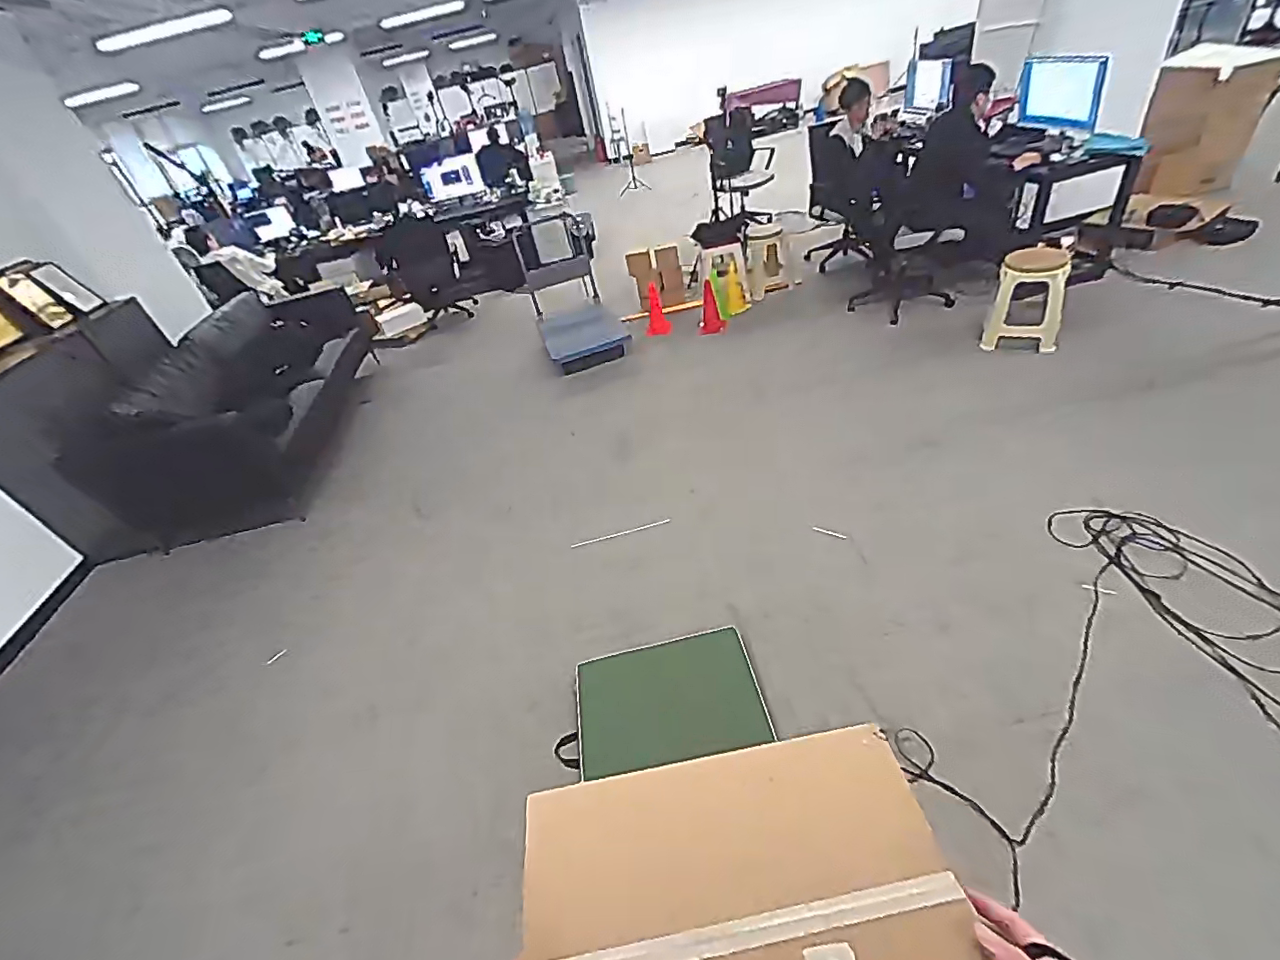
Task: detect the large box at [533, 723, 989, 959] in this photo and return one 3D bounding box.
[{"bbox_3d":[0.114,0.528,0.597,0.408,0.320,0.320,-11,41,-3],"label":"large box"}]
